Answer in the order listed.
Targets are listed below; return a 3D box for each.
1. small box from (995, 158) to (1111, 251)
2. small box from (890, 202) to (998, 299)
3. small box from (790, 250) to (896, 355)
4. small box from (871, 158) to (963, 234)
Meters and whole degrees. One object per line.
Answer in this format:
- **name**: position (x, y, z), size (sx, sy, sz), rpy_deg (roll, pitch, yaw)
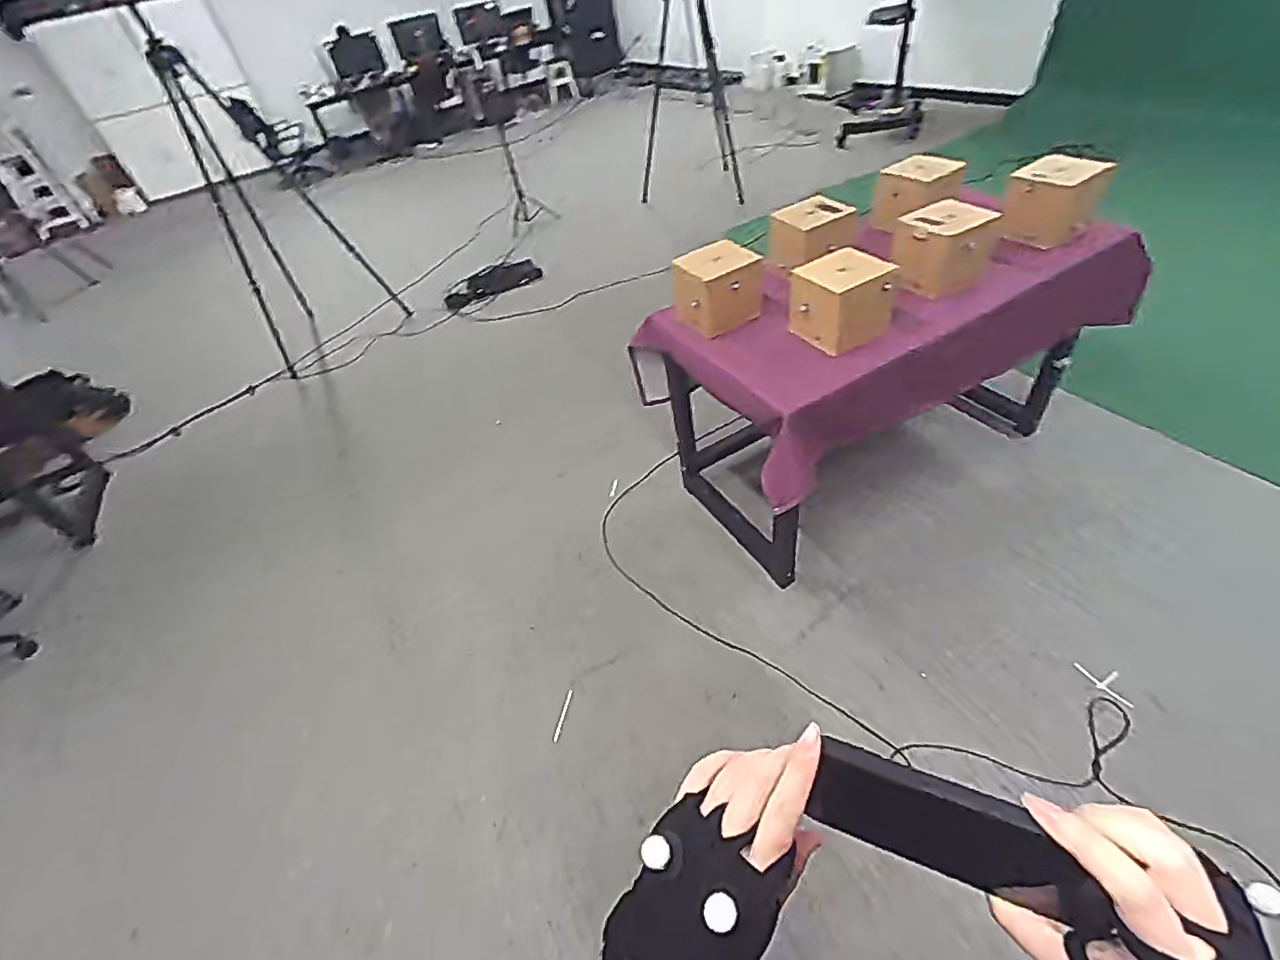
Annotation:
- **small box**: position (1.125, -0.761, 1.491), size (0.179, 0.176, 0.168), rpy_deg (-28, 46, -15)
- **small box**: position (0.780, -0.596, 1.411), size (0.179, 0.176, 0.168), rpy_deg (-25, 46, -13)
- **small box**: position (0.485, -0.429, 1.315), size (0.179, 0.176, 0.168), rpy_deg (-26, 46, -14)
- **small box**: position (0.839, -0.860, 1.656), size (0.168, 0.176, 0.179), rpy_deg (-30, 47, -16)
